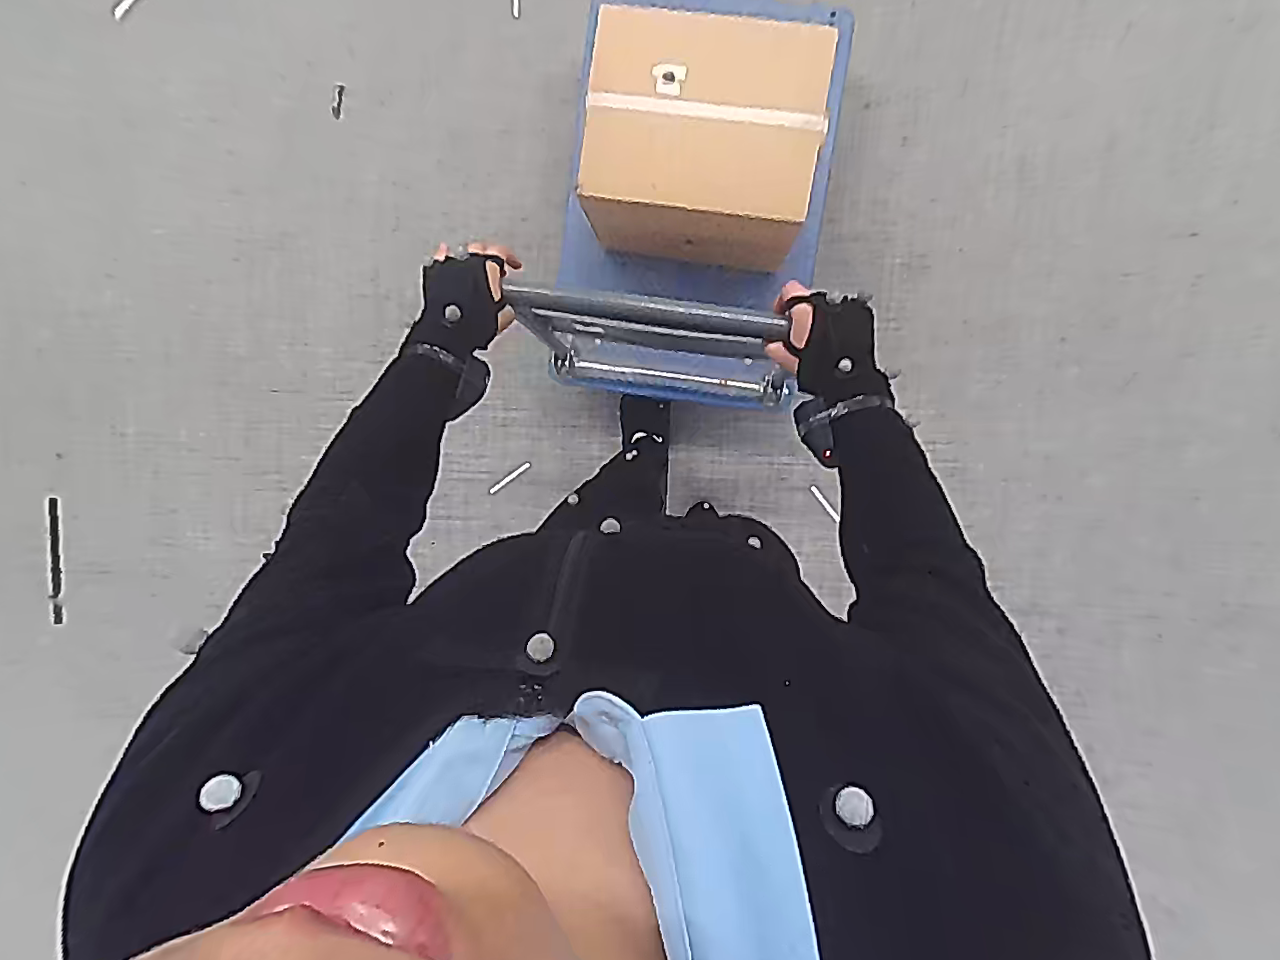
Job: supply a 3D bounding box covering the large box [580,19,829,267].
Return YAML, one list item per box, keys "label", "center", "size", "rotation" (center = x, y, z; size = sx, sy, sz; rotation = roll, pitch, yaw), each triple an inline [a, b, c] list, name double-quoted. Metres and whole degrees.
- label: "large box"
  center: [0.123, -0.644, 1.090]
  size: [0.408, 0.320, 0.320]
  rotation: [9, 95, 5]
